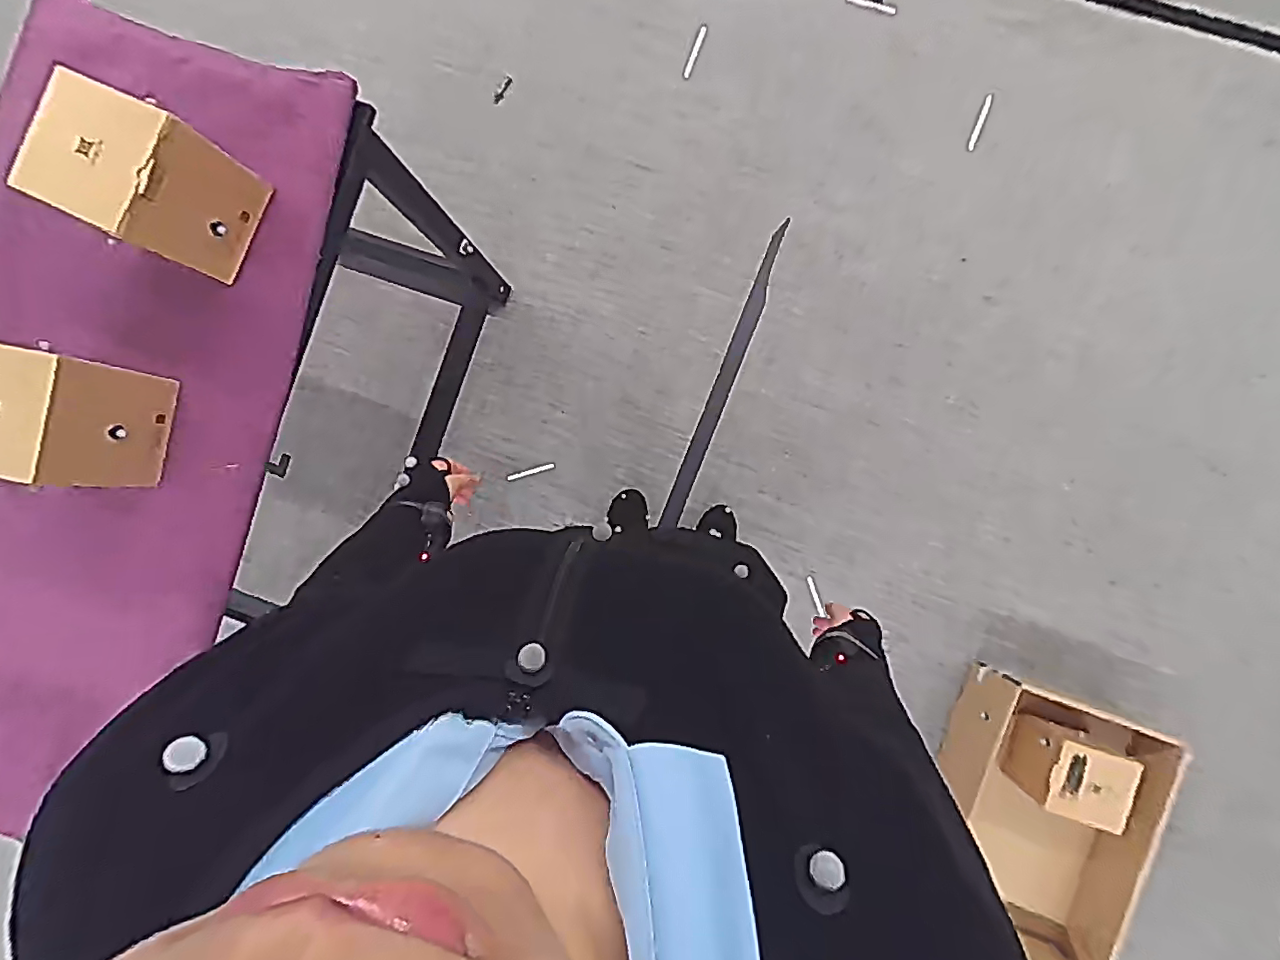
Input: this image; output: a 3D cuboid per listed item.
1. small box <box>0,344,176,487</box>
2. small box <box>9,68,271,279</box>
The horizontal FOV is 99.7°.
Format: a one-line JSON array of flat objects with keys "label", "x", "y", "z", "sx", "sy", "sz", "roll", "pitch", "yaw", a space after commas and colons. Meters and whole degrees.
[{"label": "small box", "x": -0.806, "y": -0.088, "z": 0.751, "sx": 0.179, "sy": 0.176, "sz": 0.168, "roll": 11, "pitch": 89, "yaw": 5}, {"label": "small box", "x": -0.673, "y": -0.407, "z": 0.749, "sx": 0.179, "sy": 0.176, "sz": 0.168, "roll": 25, "pitch": 91, "yaw": 6}]
